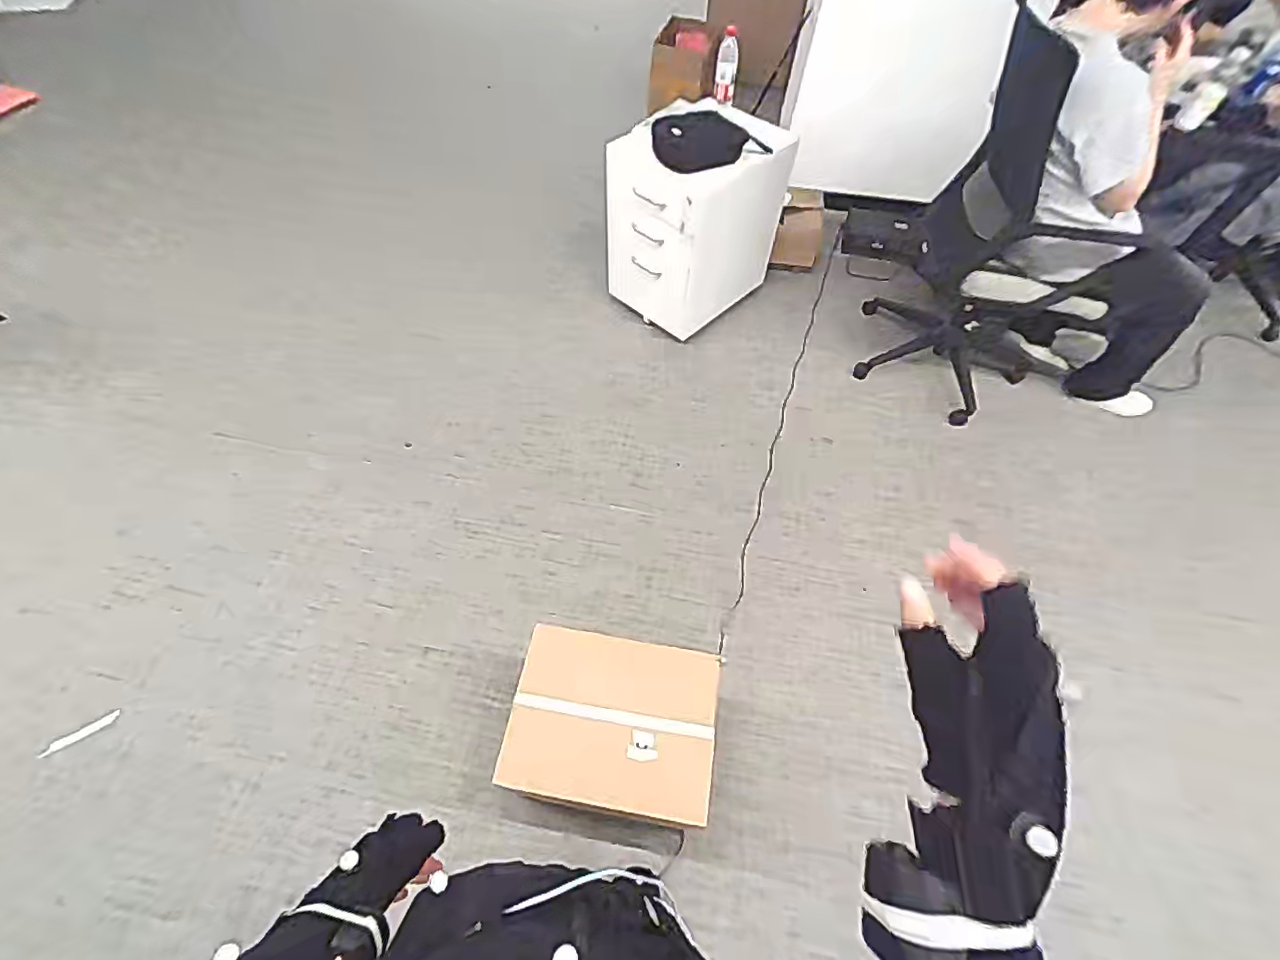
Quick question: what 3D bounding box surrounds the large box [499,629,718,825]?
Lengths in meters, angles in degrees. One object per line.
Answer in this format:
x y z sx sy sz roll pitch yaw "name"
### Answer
-0.058 0.559 1.212 0.408 0.320 0.320 9 57 3 "large box"
